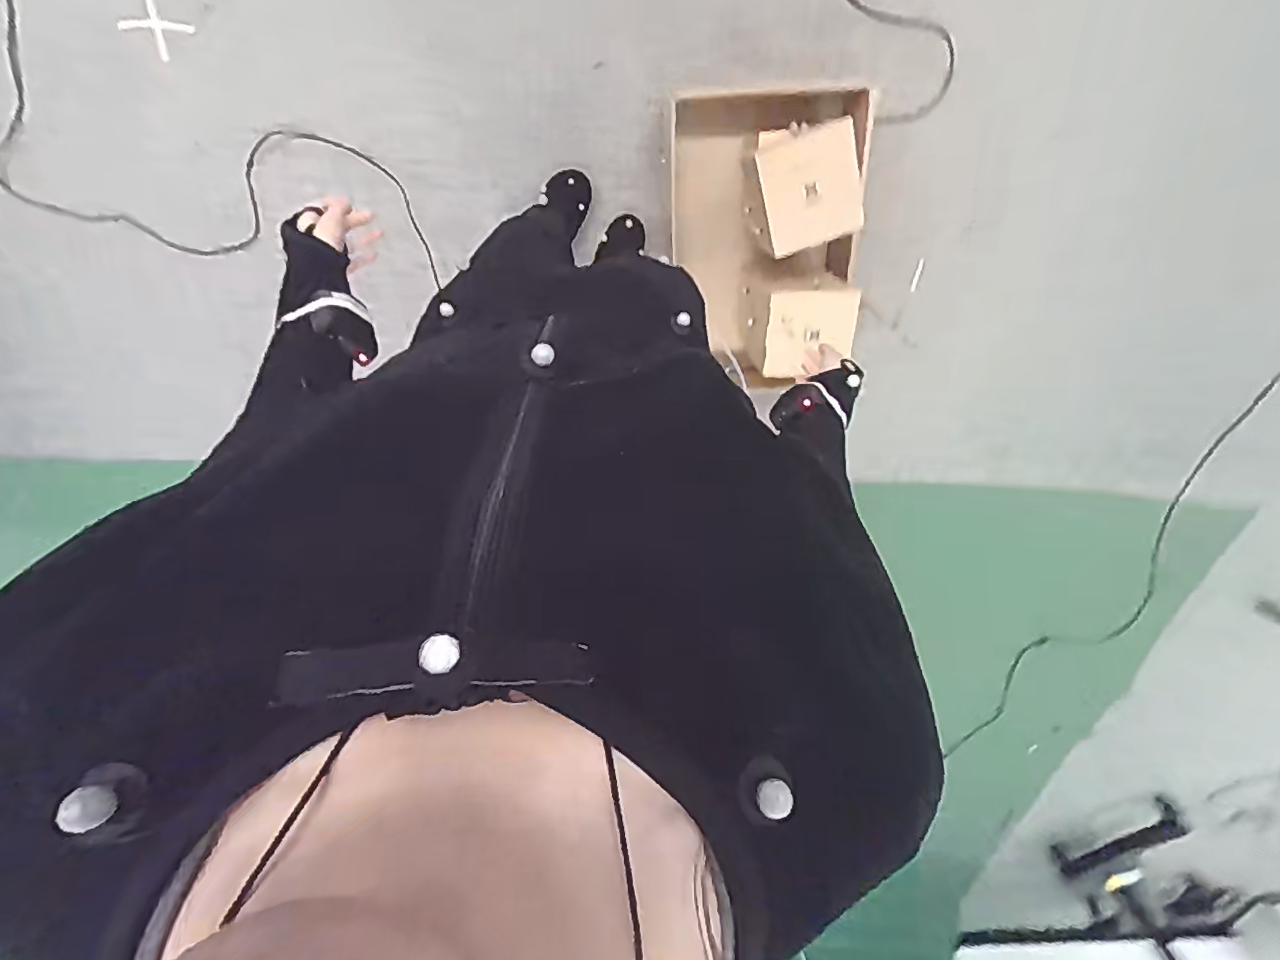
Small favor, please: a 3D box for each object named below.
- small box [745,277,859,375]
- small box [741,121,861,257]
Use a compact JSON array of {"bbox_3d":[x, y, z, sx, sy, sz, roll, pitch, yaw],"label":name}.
[{"bbox_3d":[0.328,-0.327,1.132,0.179,0.176,0.168,0,120,-1],"label":"small box"},{"bbox_3d":[0.296,-0.543,1.008,0.168,0.176,0.179,-16,120,9],"label":"small box"}]
